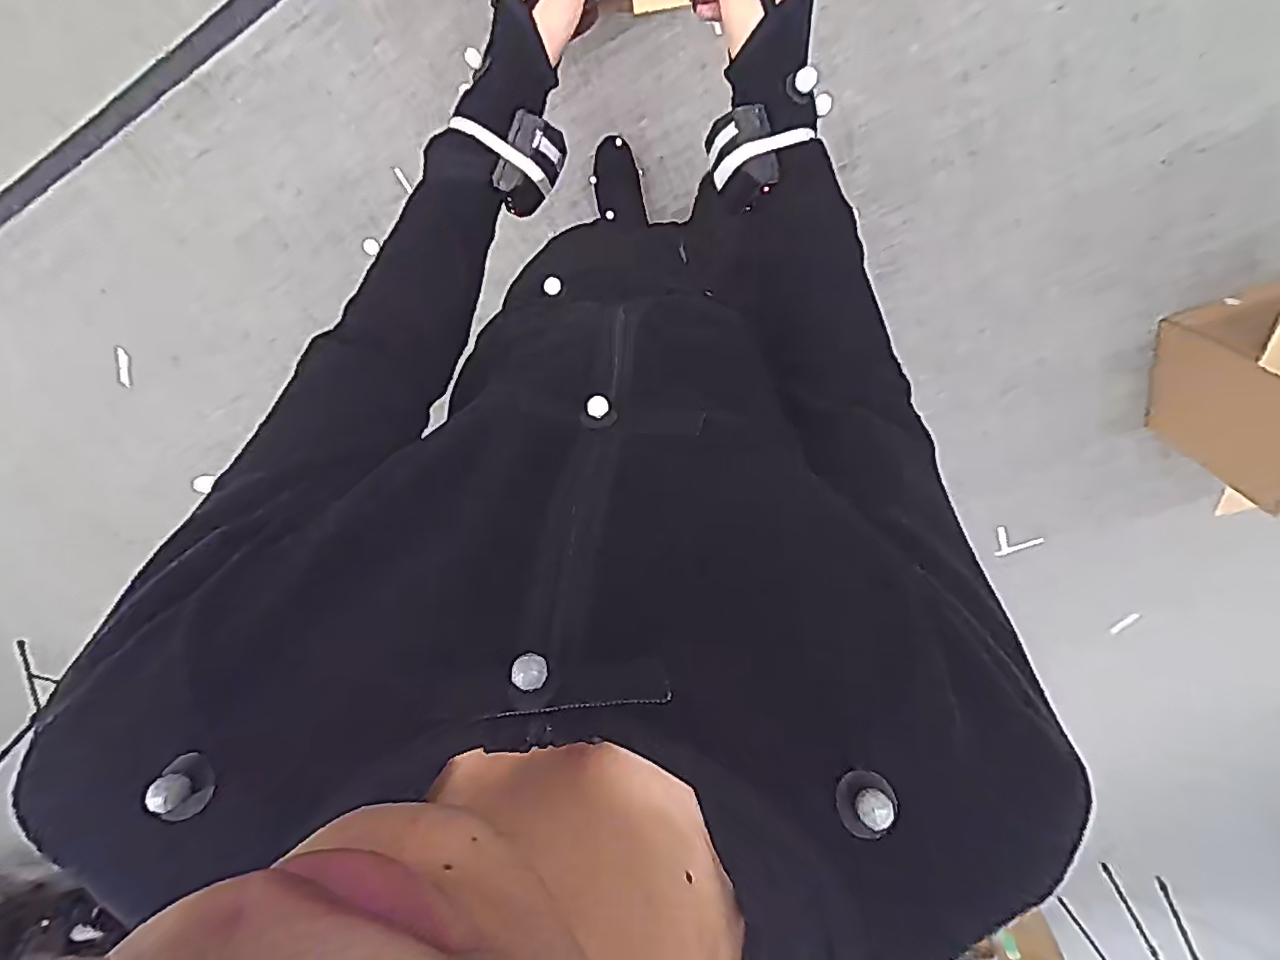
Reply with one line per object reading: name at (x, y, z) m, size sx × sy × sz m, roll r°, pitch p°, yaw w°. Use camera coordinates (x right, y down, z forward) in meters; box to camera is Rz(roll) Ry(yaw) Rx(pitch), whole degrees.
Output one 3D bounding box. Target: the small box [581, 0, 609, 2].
small box at (0.003, -0.494, 0.415) m, size 0.168 × 0.176 × 0.179 m, roll -5°, pitch 126°, yaw 2°
